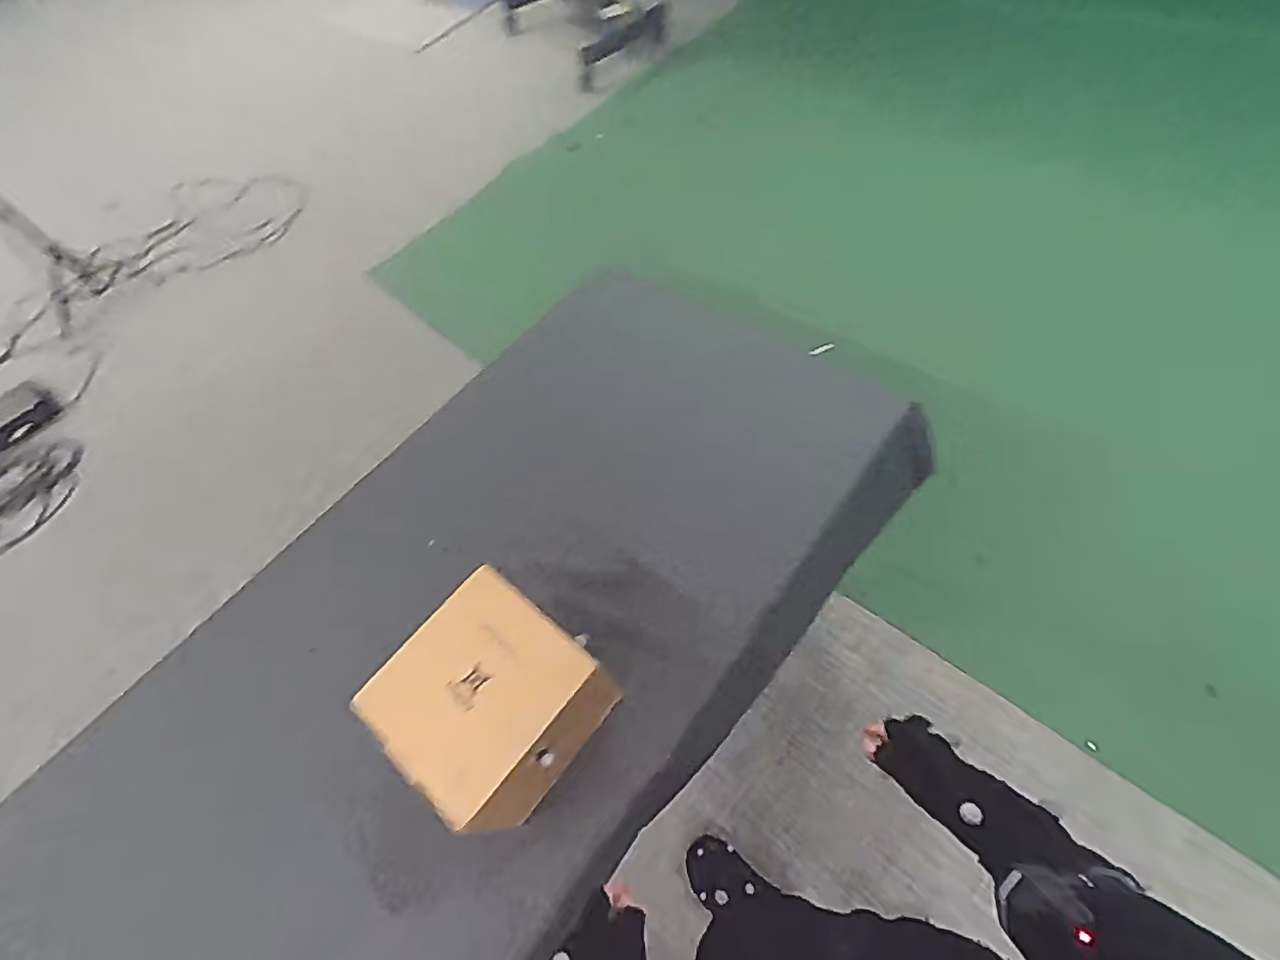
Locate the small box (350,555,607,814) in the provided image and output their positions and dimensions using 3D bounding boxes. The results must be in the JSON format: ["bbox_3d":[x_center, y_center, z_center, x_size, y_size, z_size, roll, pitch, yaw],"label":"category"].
[{"bbox_3d":[-0.153,0.219,0.576,0.168,0.176,0.179,34,69,22],"label":"small box"}]
